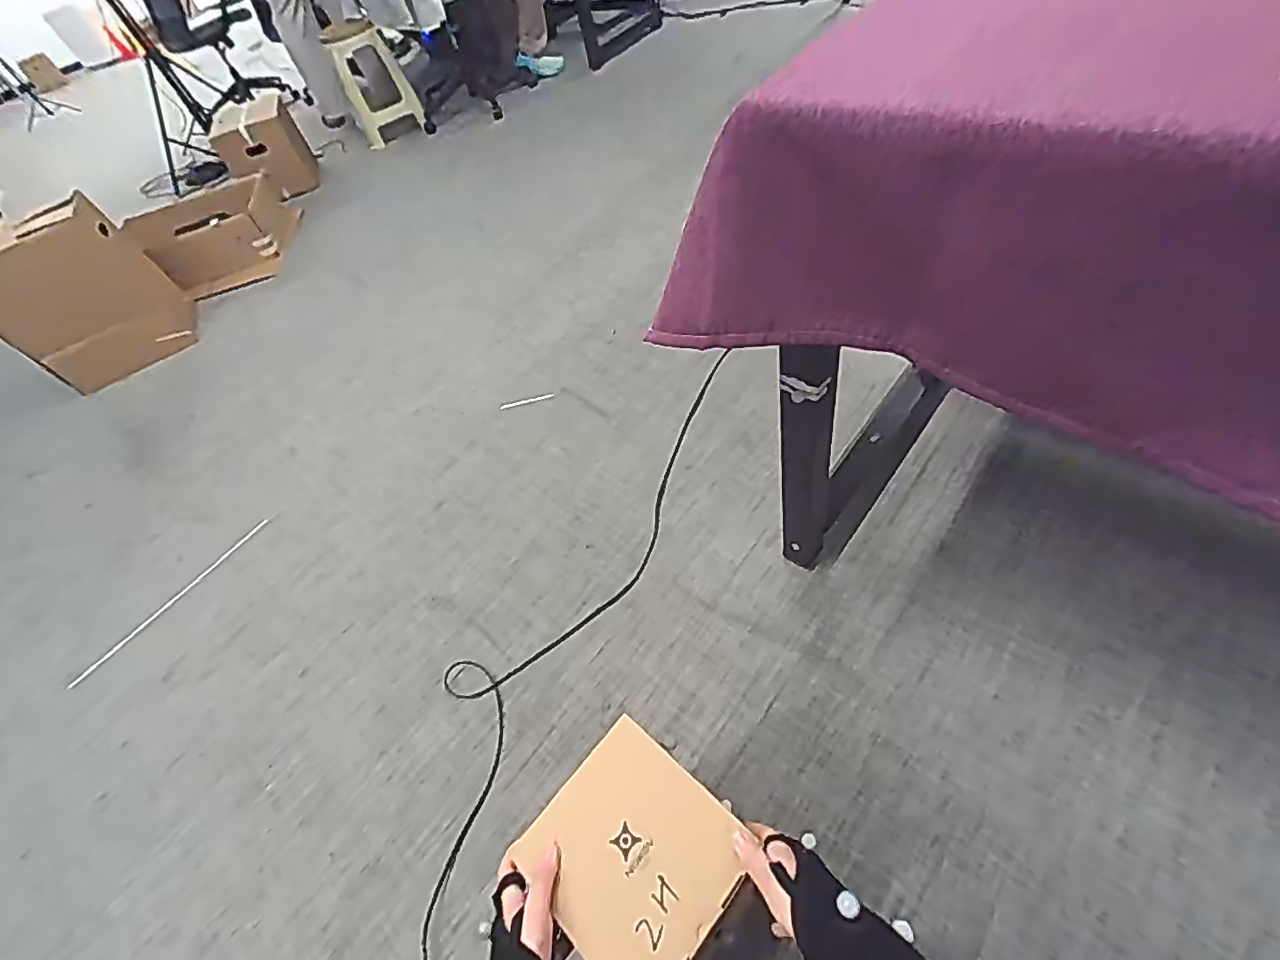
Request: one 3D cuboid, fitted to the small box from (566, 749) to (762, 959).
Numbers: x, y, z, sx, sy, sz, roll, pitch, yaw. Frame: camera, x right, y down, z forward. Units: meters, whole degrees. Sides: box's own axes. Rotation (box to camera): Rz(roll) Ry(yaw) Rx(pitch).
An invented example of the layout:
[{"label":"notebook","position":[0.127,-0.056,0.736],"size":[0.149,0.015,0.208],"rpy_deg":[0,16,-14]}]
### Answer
[{"label":"small box","position":[0.042,0.483,0.679],"size":[0.168,0.176,0.179],"rpy_deg":[31,65,31]}]
